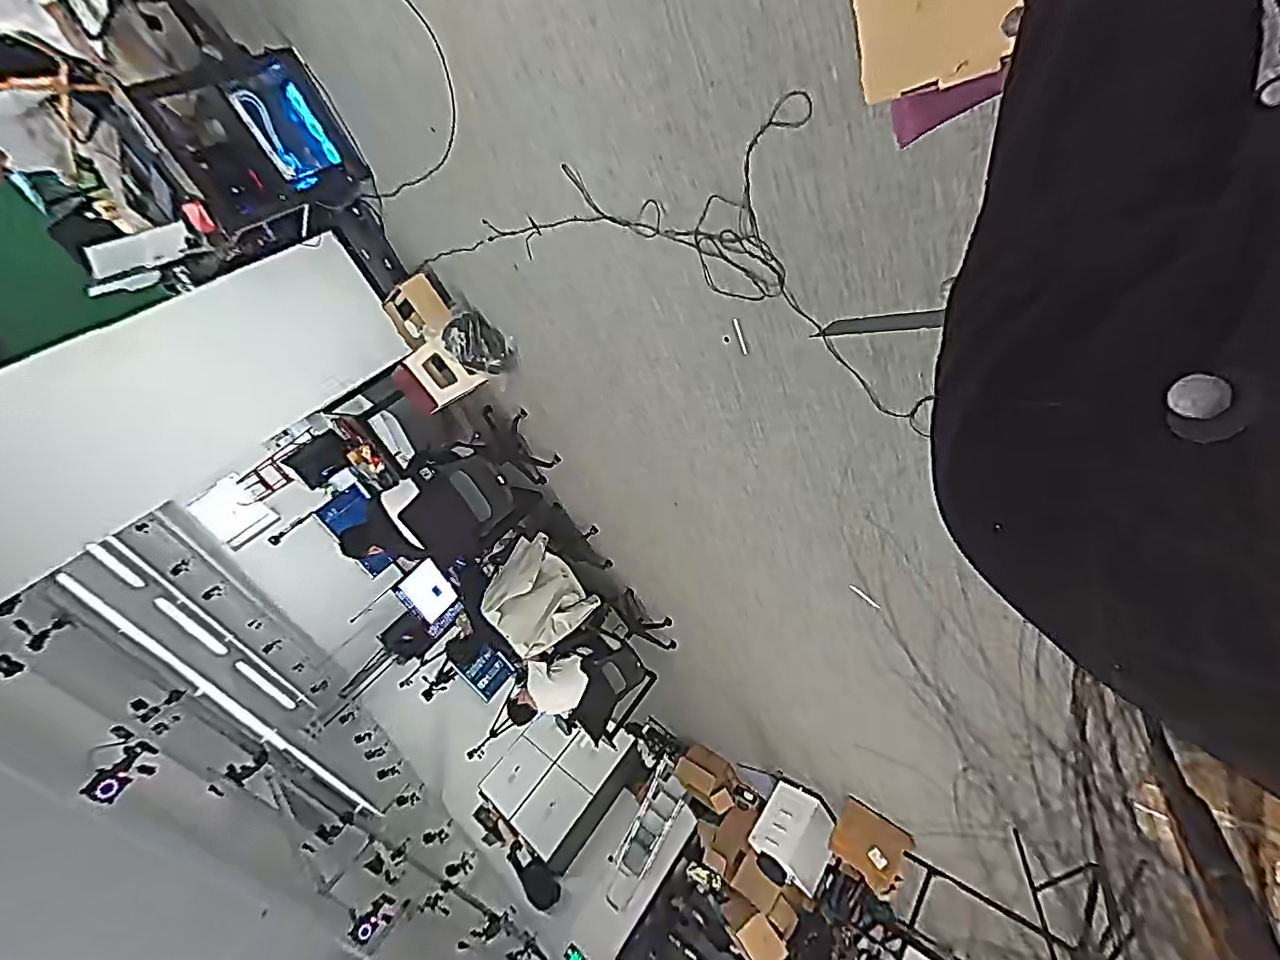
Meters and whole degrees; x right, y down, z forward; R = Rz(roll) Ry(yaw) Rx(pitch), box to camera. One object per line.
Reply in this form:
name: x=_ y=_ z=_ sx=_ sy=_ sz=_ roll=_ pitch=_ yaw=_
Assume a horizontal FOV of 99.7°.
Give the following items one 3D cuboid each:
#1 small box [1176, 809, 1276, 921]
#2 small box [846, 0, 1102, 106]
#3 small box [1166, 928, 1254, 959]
small box: x=1.671 y=1.089 z=1.543 sx=0.179 sy=0.176 sz=0.168 roll=10 pitch=135 yaw=47
small box: x=0.276 y=-0.446 z=0.431 sx=0.168 sy=0.176 sz=0.179 roll=10 pitch=136 yaw=44
small box: x=1.473 y=1.296 z=1.382 sx=0.179 sy=0.176 sz=0.168 roll=12 pitch=138 yaw=43
